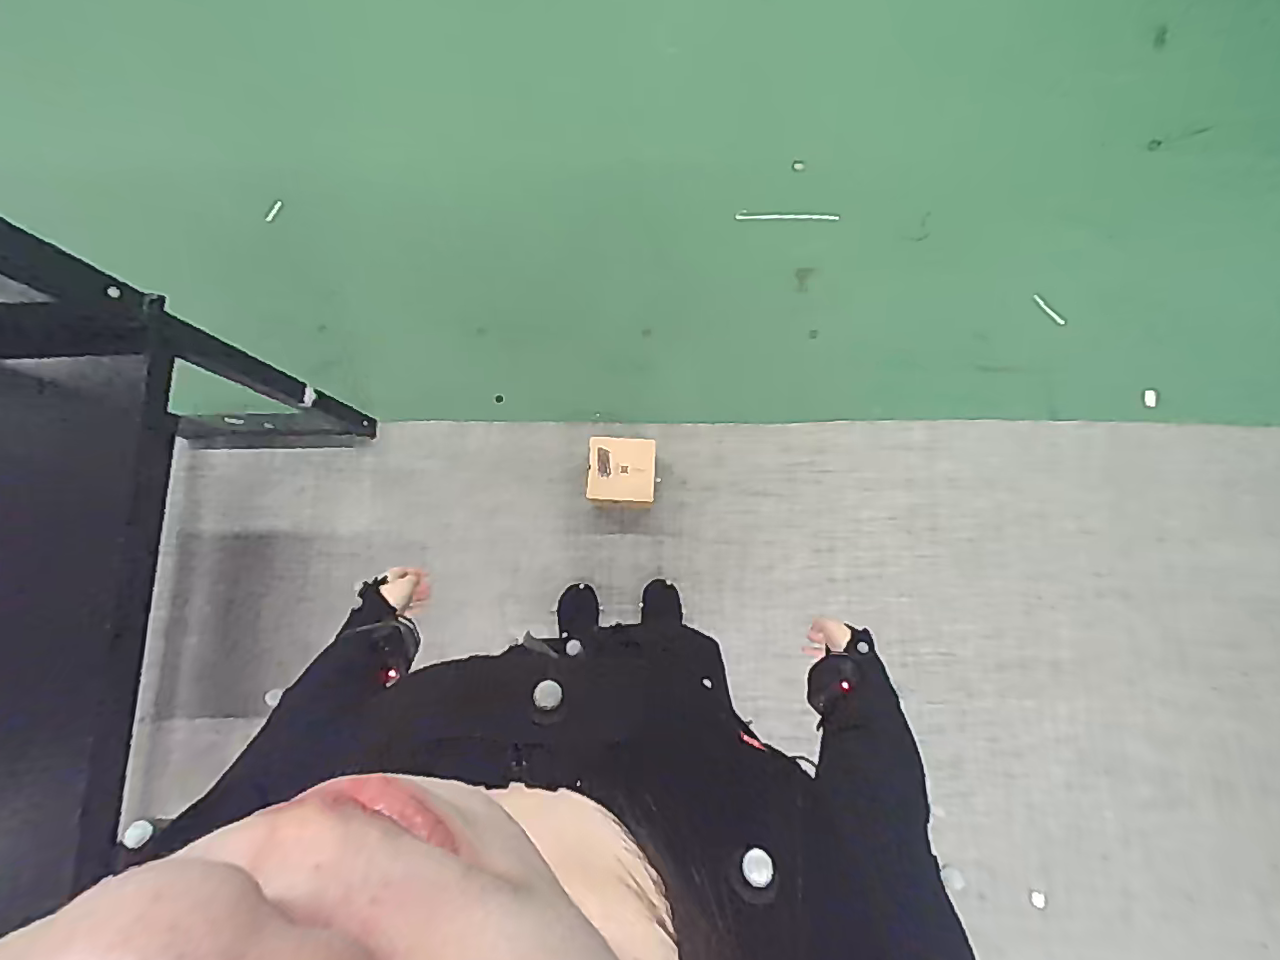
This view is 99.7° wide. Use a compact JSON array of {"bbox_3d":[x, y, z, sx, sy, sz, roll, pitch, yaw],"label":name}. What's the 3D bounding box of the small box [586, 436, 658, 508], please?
[{"bbox_3d":[-0.043,-0.016,1.459,0.179,0.176,0.168,4,82,1],"label":"small box"}]
